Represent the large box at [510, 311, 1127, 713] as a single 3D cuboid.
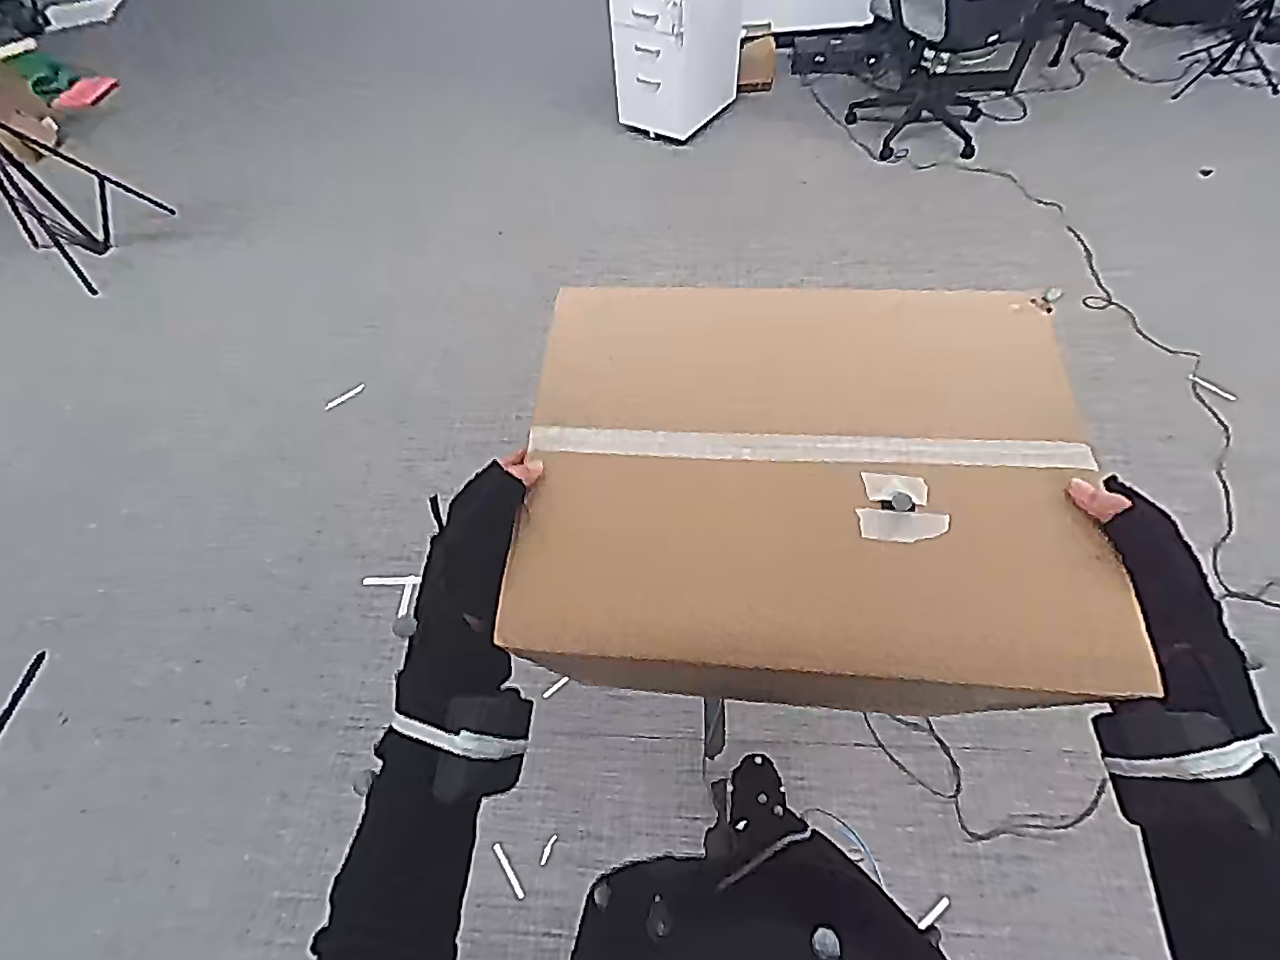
[{"bbox_3d":[0.125,0.053,0.548,0.408,0.320,0.320,2,66,6],"label":"large box"}]
